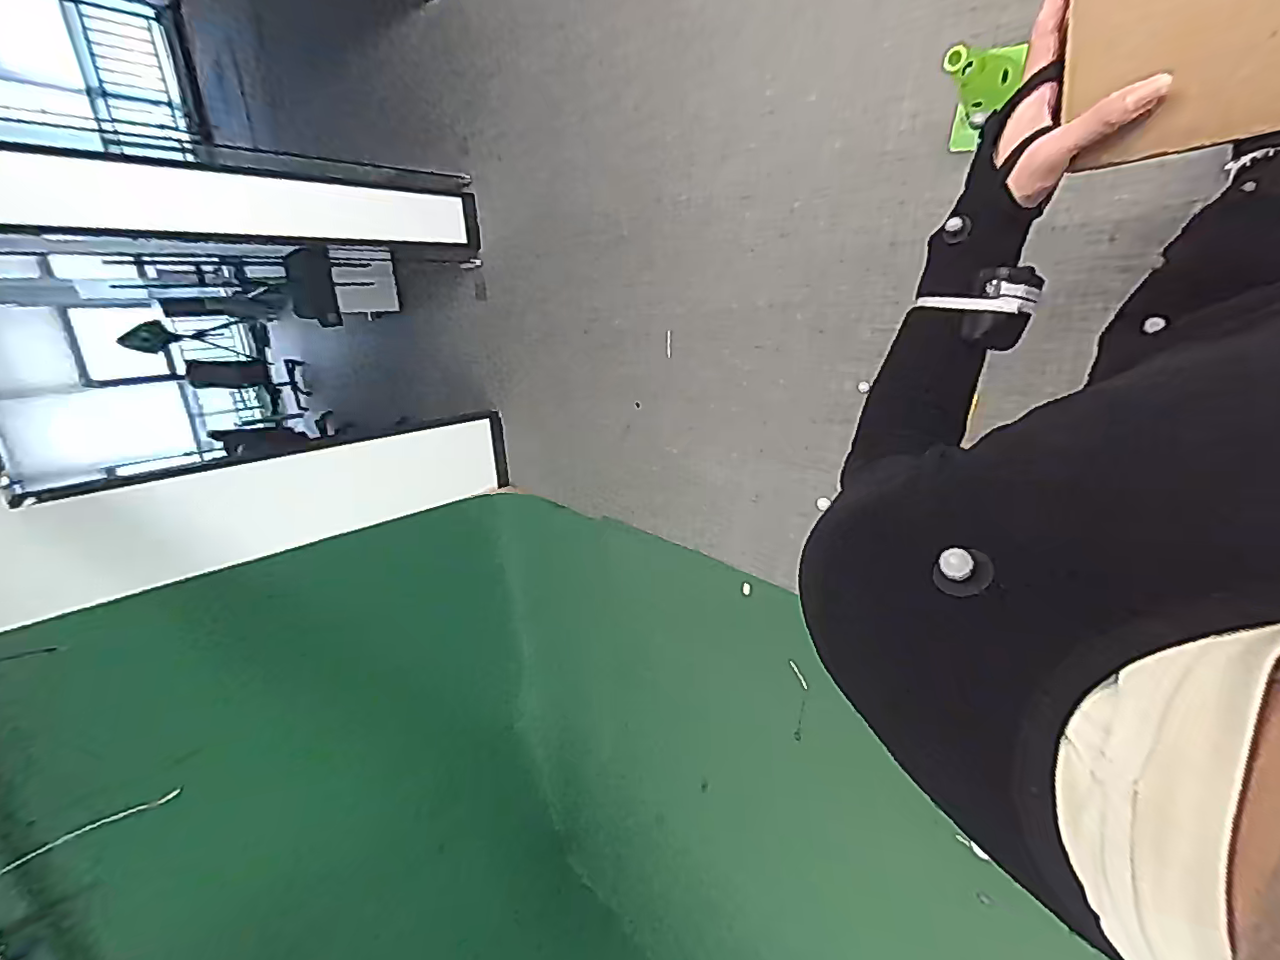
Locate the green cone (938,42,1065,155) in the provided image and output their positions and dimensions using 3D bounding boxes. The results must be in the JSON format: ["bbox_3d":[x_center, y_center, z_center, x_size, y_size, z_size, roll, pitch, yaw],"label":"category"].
[{"bbox_3d":[0.711,-0.827,1.137,0.200,0.368,0.202,24,122,41],"label":"green cone"}]
